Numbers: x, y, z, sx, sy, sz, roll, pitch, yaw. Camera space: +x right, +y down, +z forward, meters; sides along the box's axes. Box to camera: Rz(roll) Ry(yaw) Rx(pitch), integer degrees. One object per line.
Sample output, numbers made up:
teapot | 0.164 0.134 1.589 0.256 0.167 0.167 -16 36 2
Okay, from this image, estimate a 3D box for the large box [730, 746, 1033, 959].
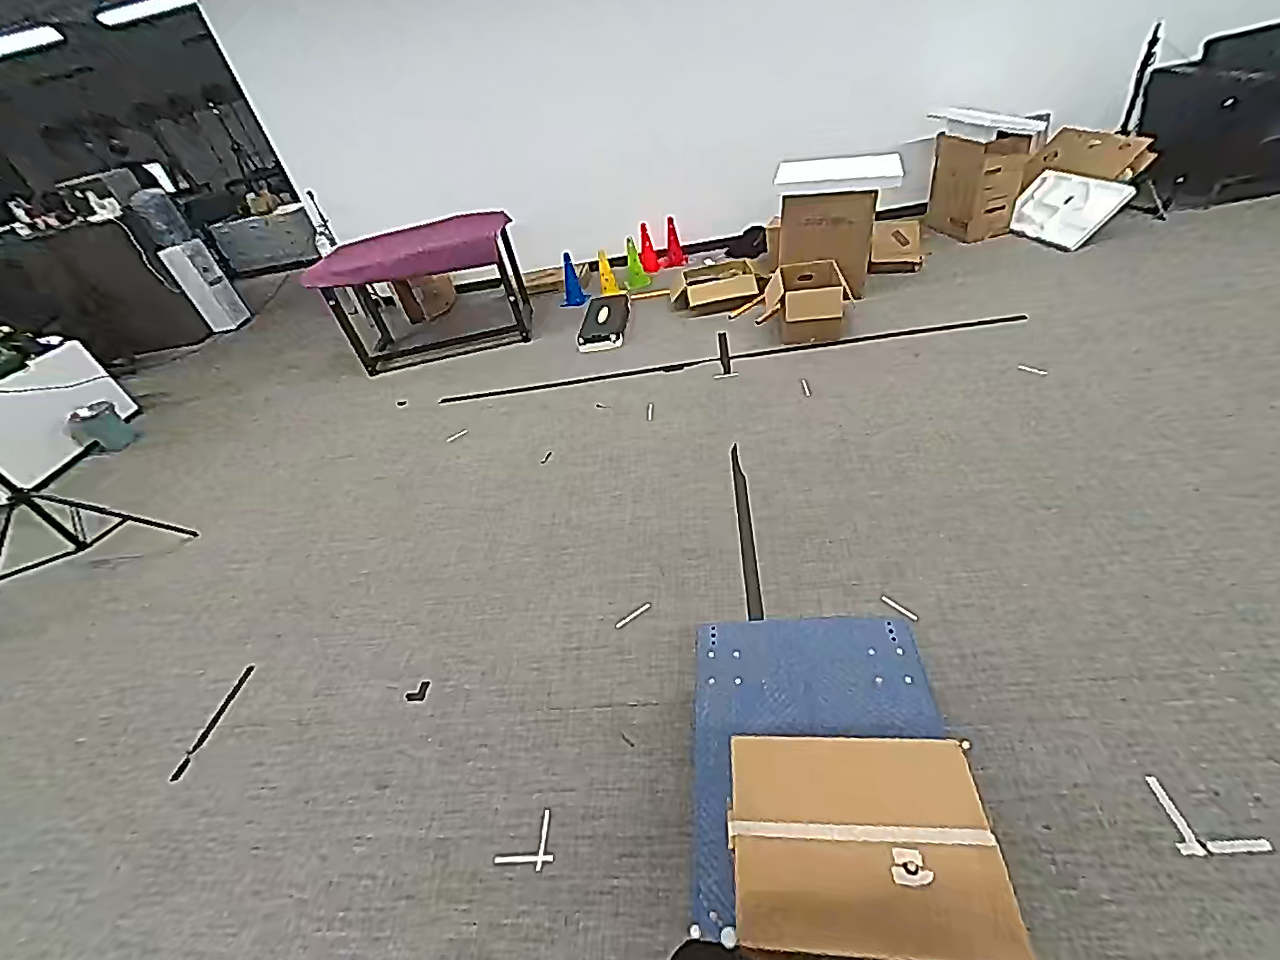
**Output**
large box | 0.376 0.701 0.964 0.408 0.320 0.320 -3 41 10
